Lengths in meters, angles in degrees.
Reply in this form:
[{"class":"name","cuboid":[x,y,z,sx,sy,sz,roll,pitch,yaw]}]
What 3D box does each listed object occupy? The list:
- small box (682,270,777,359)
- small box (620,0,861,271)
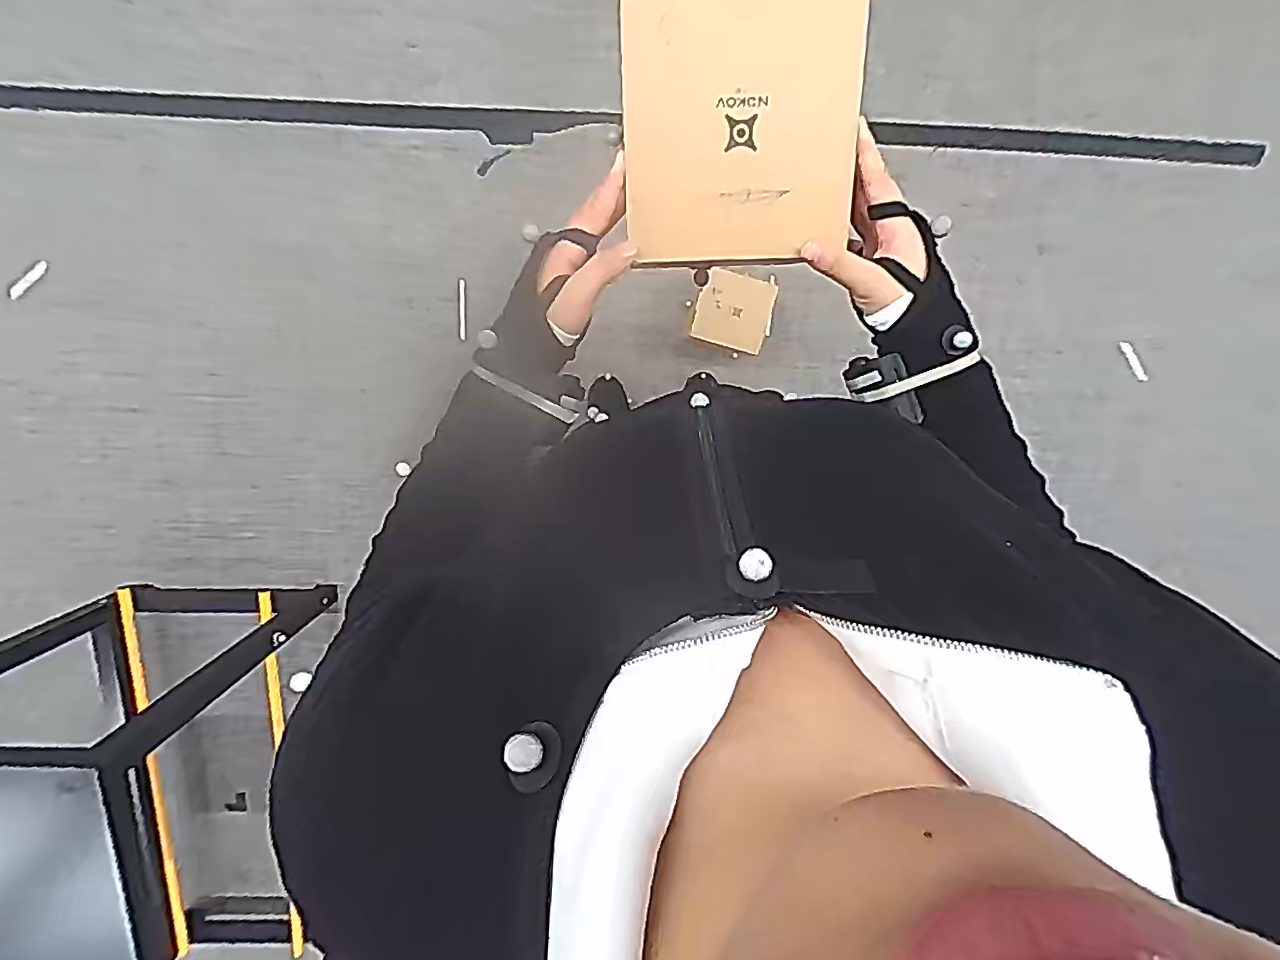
[{"class":"small box","cuboid":[0.215,-0.406,1.353,0.179,0.176,0.168,15,100,-5]},{"class":"small box","cuboid":[0.067,-0.276,0.460,0.168,0.176,0.179,-1,110,0]}]
